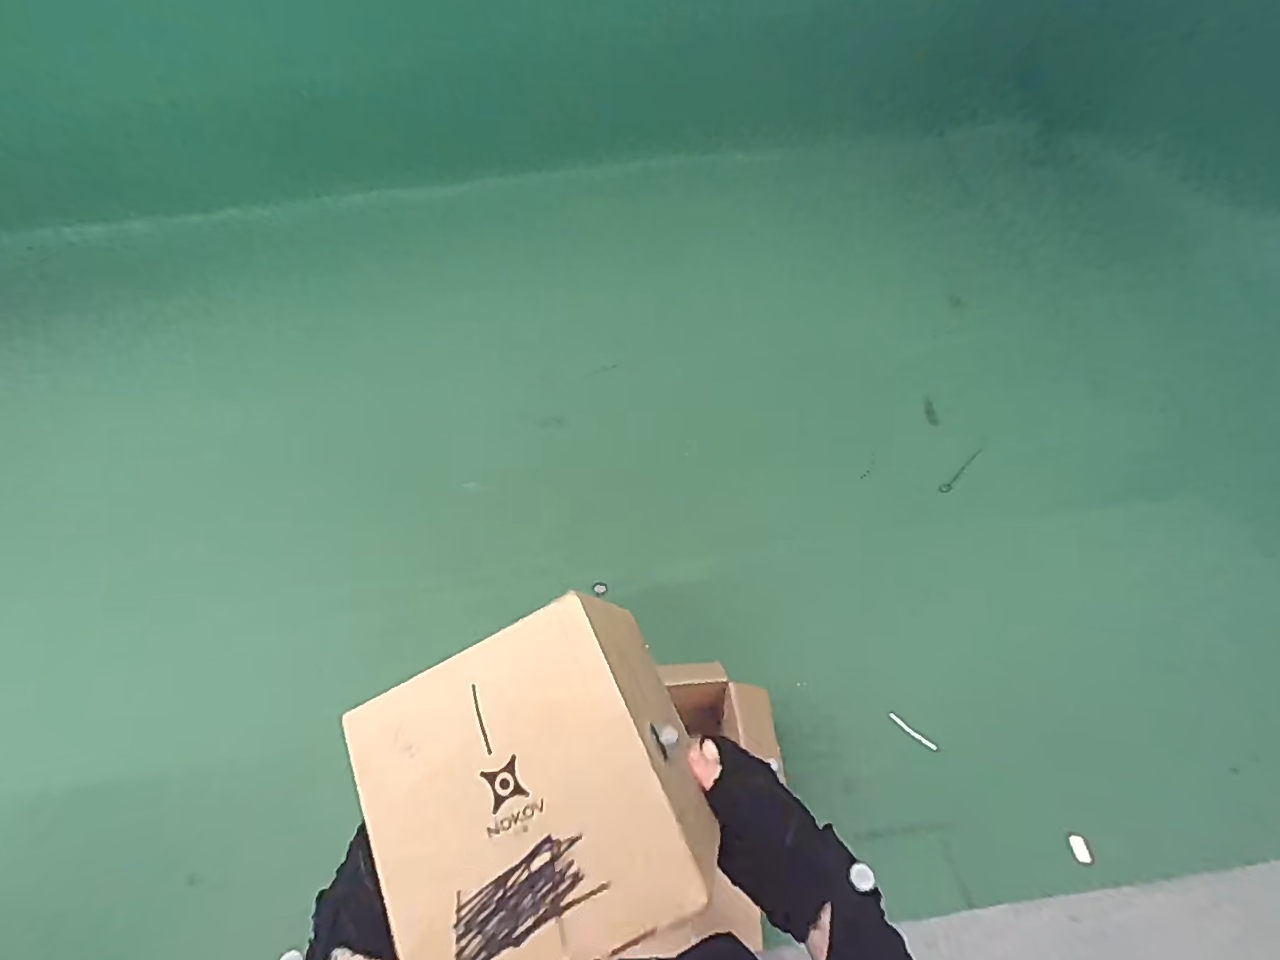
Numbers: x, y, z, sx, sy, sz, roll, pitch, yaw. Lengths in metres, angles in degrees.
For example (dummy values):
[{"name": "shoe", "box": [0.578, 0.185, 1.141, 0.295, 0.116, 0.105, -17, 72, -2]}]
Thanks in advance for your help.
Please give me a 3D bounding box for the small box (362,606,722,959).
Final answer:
[{"name": "small box", "box": [-0.051, 0.204, 0.374, 0.168, 0.176, 0.179, -25, 69, 1]}]
